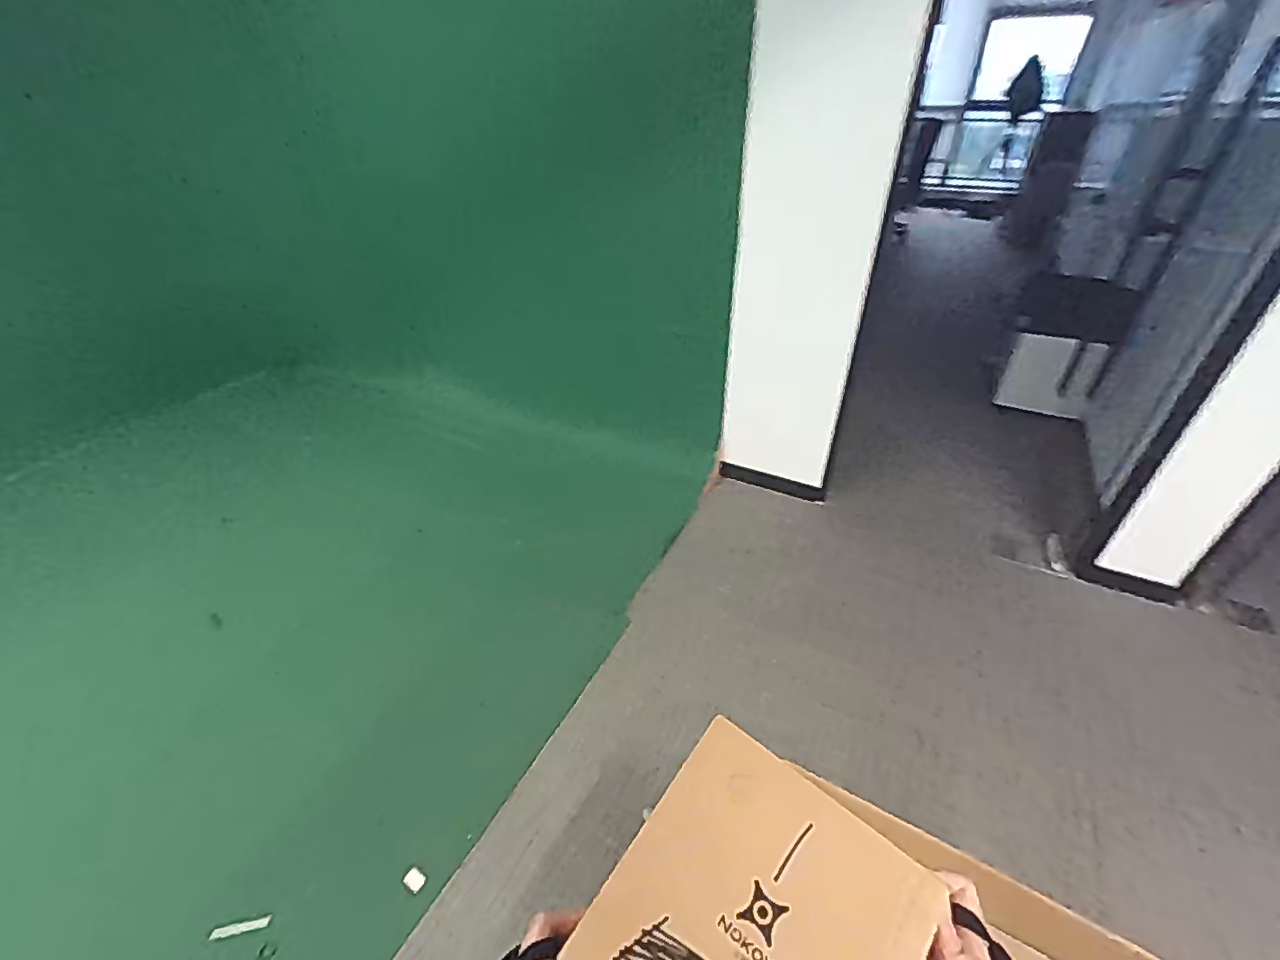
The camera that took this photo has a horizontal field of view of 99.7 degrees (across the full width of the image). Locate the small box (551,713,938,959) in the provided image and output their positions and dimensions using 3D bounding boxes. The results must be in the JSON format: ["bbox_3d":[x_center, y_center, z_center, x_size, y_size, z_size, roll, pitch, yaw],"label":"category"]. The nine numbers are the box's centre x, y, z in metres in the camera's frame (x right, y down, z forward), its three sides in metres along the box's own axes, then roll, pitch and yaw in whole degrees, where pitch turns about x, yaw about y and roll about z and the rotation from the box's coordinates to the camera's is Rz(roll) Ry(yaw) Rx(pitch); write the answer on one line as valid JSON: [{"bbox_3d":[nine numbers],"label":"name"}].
[{"bbox_3d":[0.070,0.307,0.379,0.168,0.176,0.179,29,61,26],"label":"small box"}]
